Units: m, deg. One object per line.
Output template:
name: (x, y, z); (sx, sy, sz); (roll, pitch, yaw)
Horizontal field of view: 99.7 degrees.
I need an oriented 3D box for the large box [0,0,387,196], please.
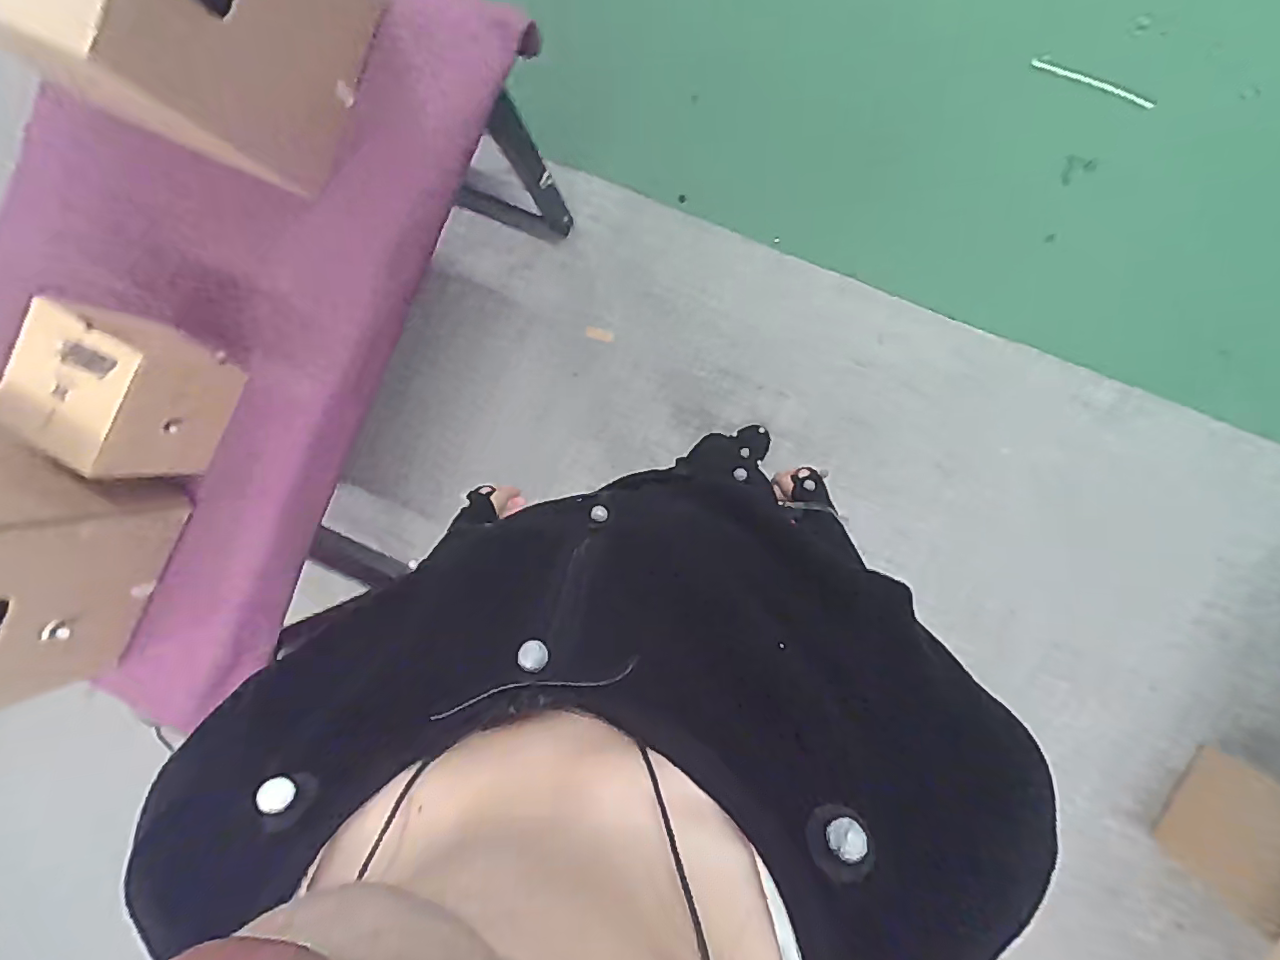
large box: (-0.614, -0.624, 0.658); (0.408, 0.320, 0.320); (24, 97, 3)
